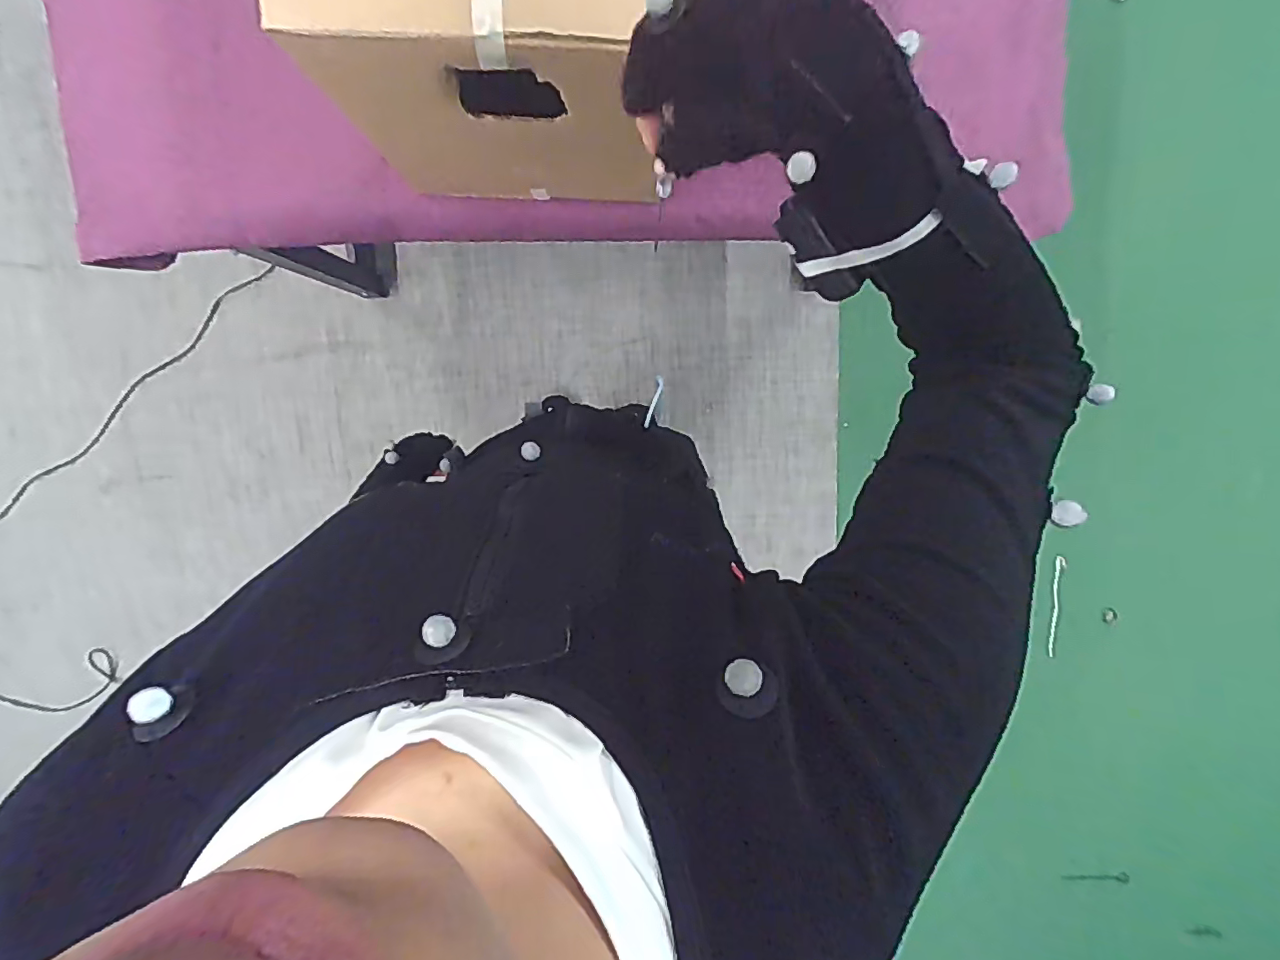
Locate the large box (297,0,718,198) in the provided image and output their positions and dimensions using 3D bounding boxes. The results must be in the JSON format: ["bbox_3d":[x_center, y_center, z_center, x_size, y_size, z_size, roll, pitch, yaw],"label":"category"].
[{"bbox_3d":[-0.104,-0.539,0.515,0.320,0.320,0.408,1,100,-3],"label":"large box"}]
